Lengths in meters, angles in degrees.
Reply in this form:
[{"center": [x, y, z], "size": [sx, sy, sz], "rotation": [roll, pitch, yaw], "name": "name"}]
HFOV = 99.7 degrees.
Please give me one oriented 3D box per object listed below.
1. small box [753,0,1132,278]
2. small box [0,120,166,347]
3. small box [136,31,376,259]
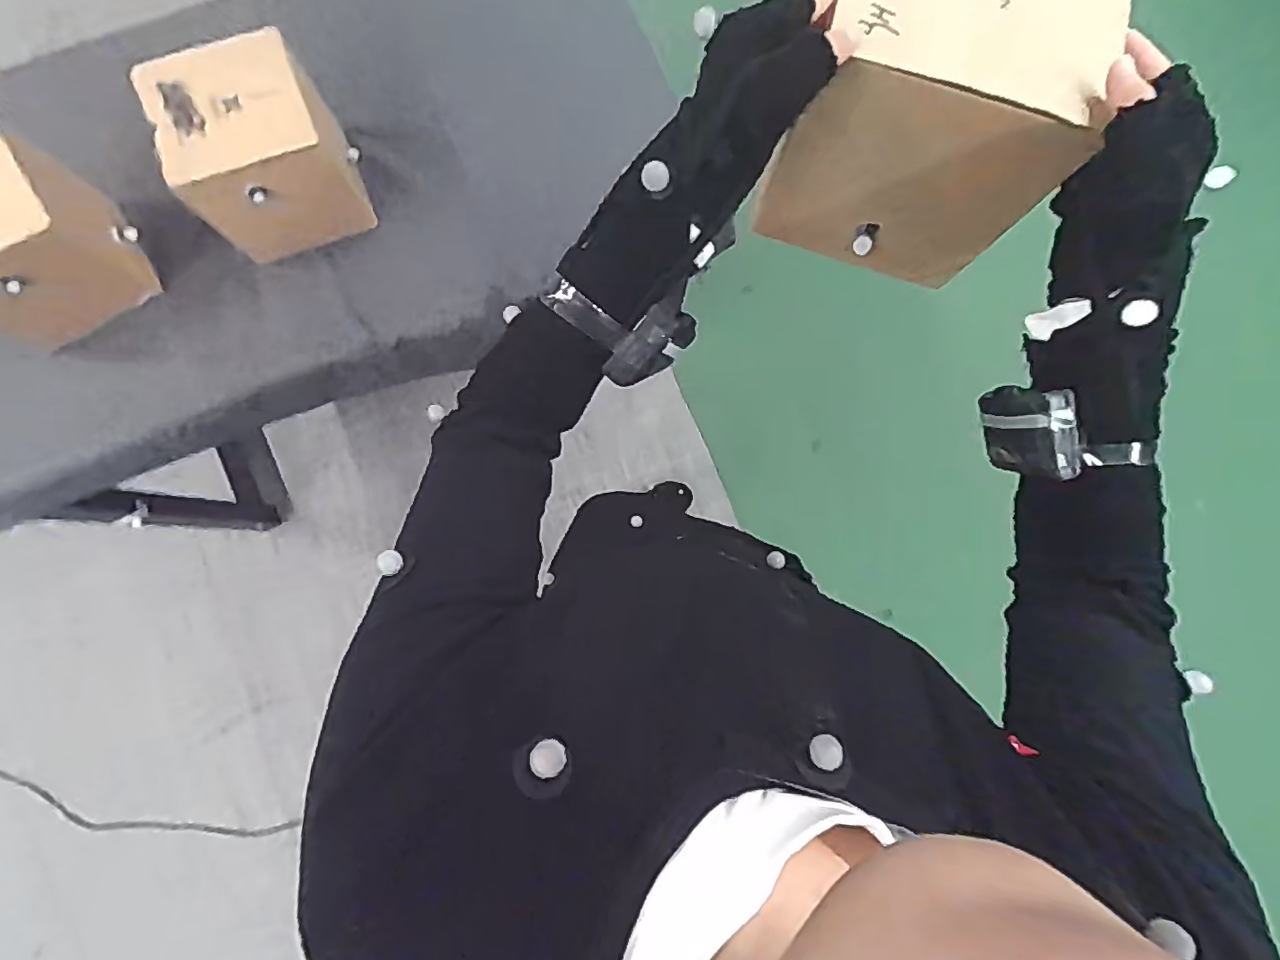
[{"center": [0.207, -0.281, 0.405], "size": [0.179, 0.176, 0.168], "rotation": [18, 78, -2], "name": "small box"}, {"center": [-0.776, -0.297, 0.684], "size": [0.179, 0.176, 0.168], "rotation": [-32, 86, -7], "name": "small box"}, {"center": [-0.488, -0.424, 0.713], "size": [0.179, 0.176, 0.168], "rotation": [-22, 85, -6], "name": "small box"}]
